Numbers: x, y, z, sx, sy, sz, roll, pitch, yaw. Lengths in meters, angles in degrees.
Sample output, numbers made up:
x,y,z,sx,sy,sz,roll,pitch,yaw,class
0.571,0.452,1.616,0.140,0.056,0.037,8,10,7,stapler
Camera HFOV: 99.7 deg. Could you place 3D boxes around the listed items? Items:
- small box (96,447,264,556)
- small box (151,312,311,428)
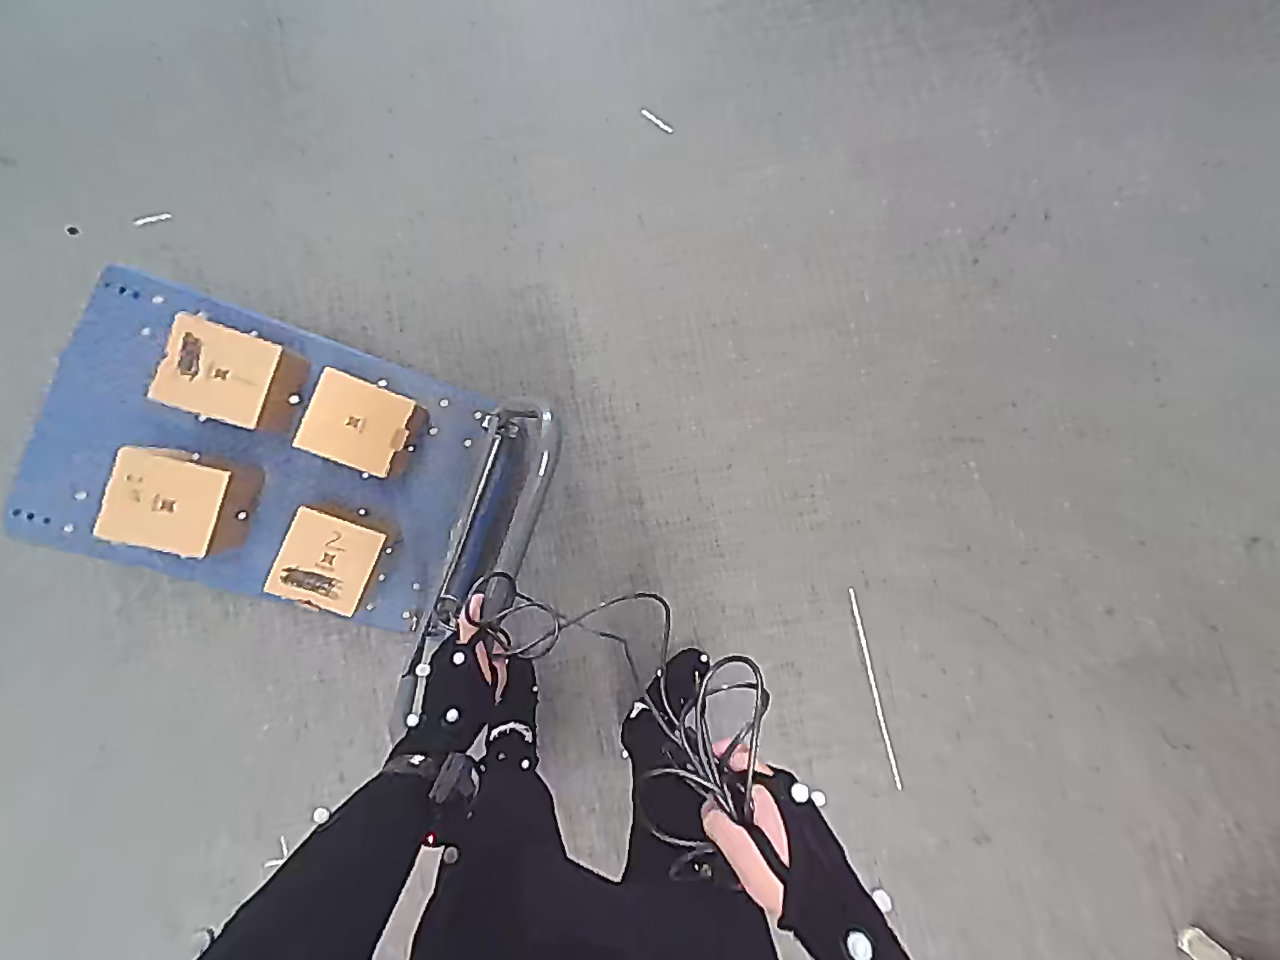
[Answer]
x,y,z,sx,sy,sz,roll,pitch,yaw,class
-0.878,0.036,1.054,0.179,0.176,0.168,17,88,-15,small box
-0.790,-0.204,1.066,0.179,0.176,0.168,19,88,-15,small box
